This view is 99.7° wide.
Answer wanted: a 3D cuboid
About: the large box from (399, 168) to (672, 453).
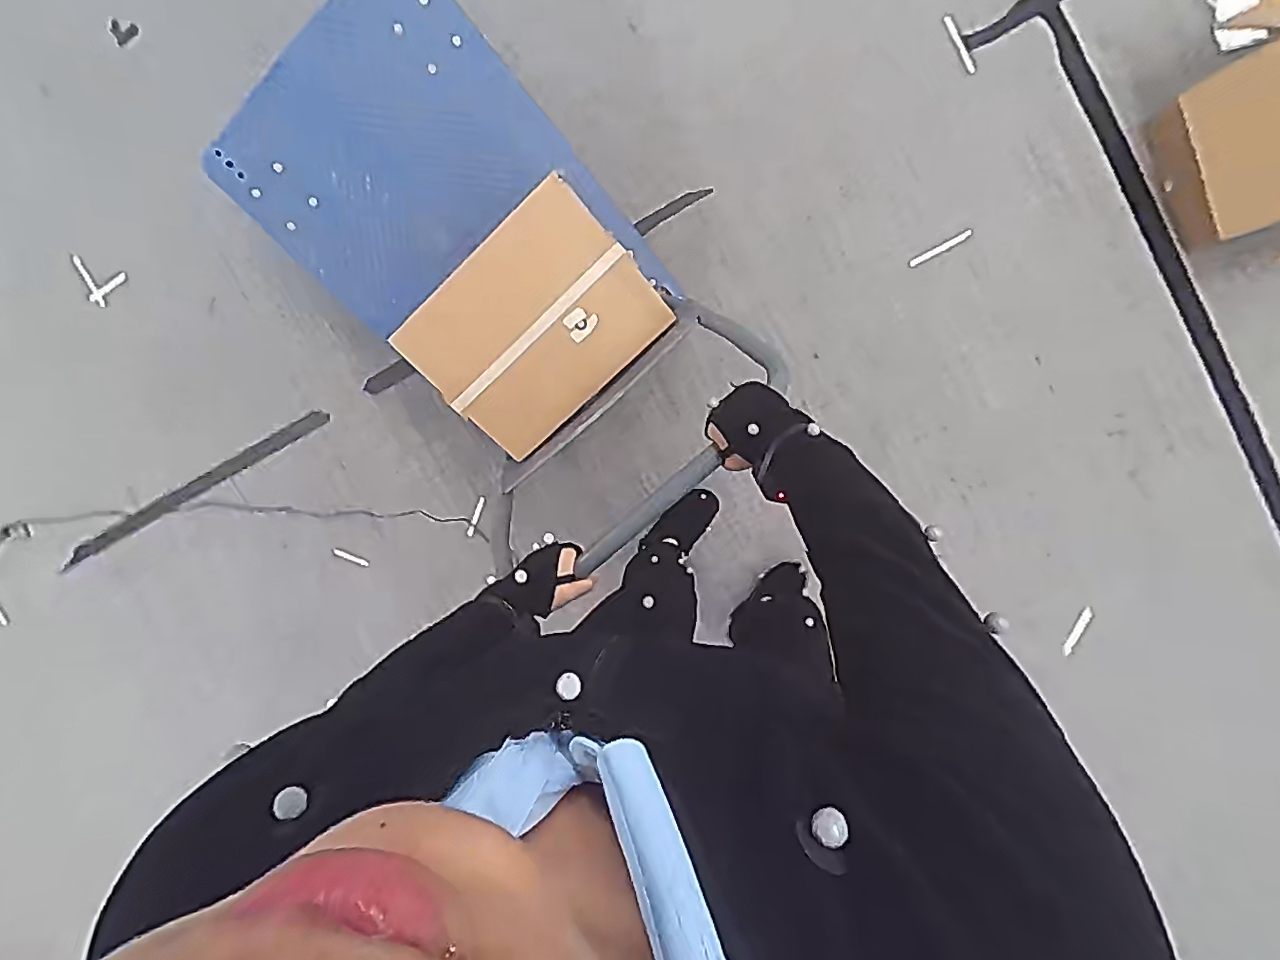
[{"bbox_3d":[-0.202,-0.331,1.103,0.408,0.320,0.320,-42,111,8],"label":"large box"}]
